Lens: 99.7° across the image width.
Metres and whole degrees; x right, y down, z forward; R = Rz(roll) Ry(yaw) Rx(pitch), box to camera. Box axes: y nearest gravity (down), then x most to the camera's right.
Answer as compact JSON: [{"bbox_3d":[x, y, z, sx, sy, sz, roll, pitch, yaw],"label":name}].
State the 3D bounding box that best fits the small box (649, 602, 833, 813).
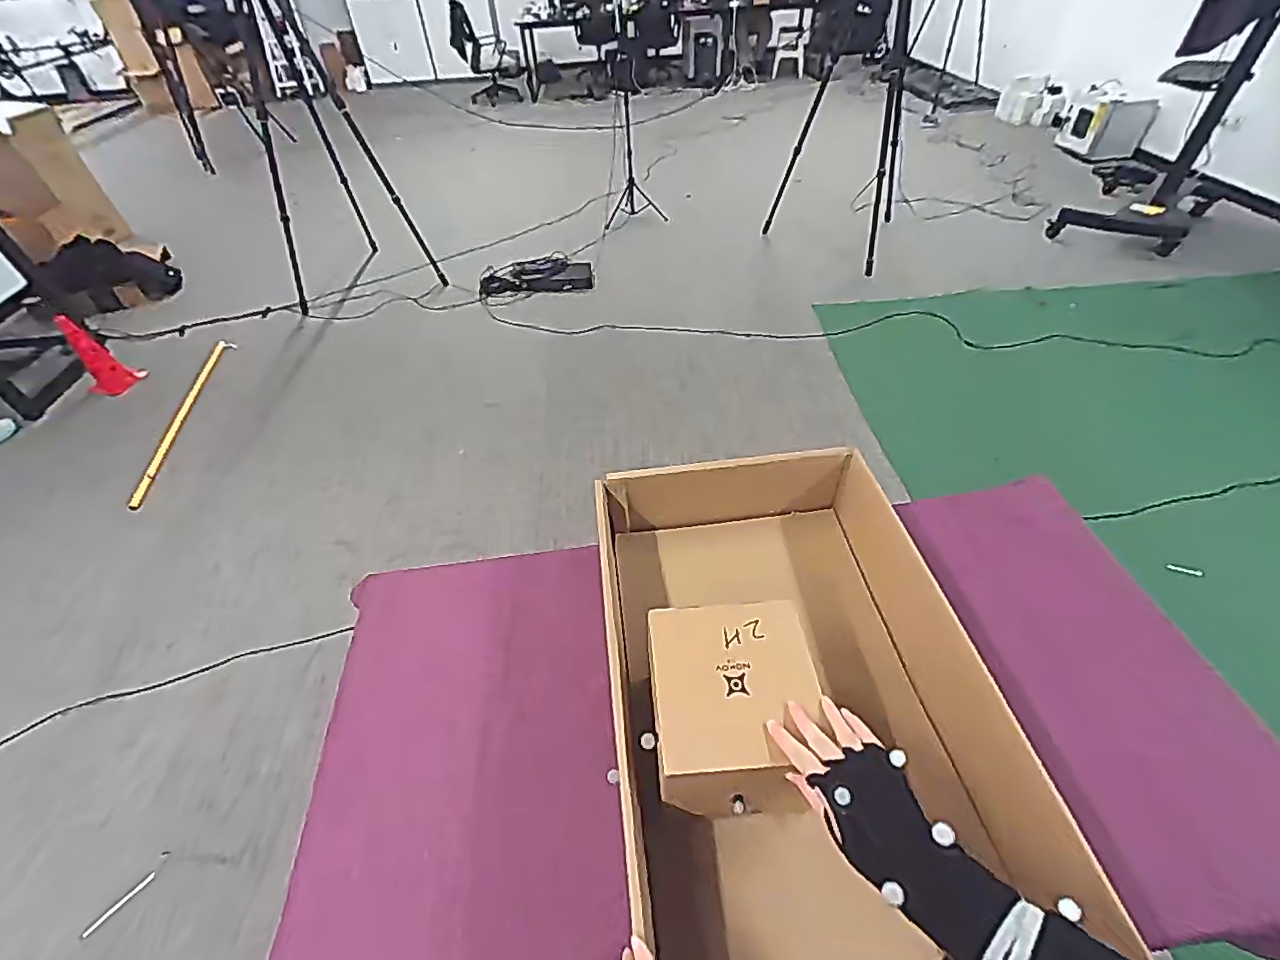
[{"bbox_3d":[0.100,0.263,0.616,0.168,0.176,0.179,-4,45,-1],"label":"small box"}]
